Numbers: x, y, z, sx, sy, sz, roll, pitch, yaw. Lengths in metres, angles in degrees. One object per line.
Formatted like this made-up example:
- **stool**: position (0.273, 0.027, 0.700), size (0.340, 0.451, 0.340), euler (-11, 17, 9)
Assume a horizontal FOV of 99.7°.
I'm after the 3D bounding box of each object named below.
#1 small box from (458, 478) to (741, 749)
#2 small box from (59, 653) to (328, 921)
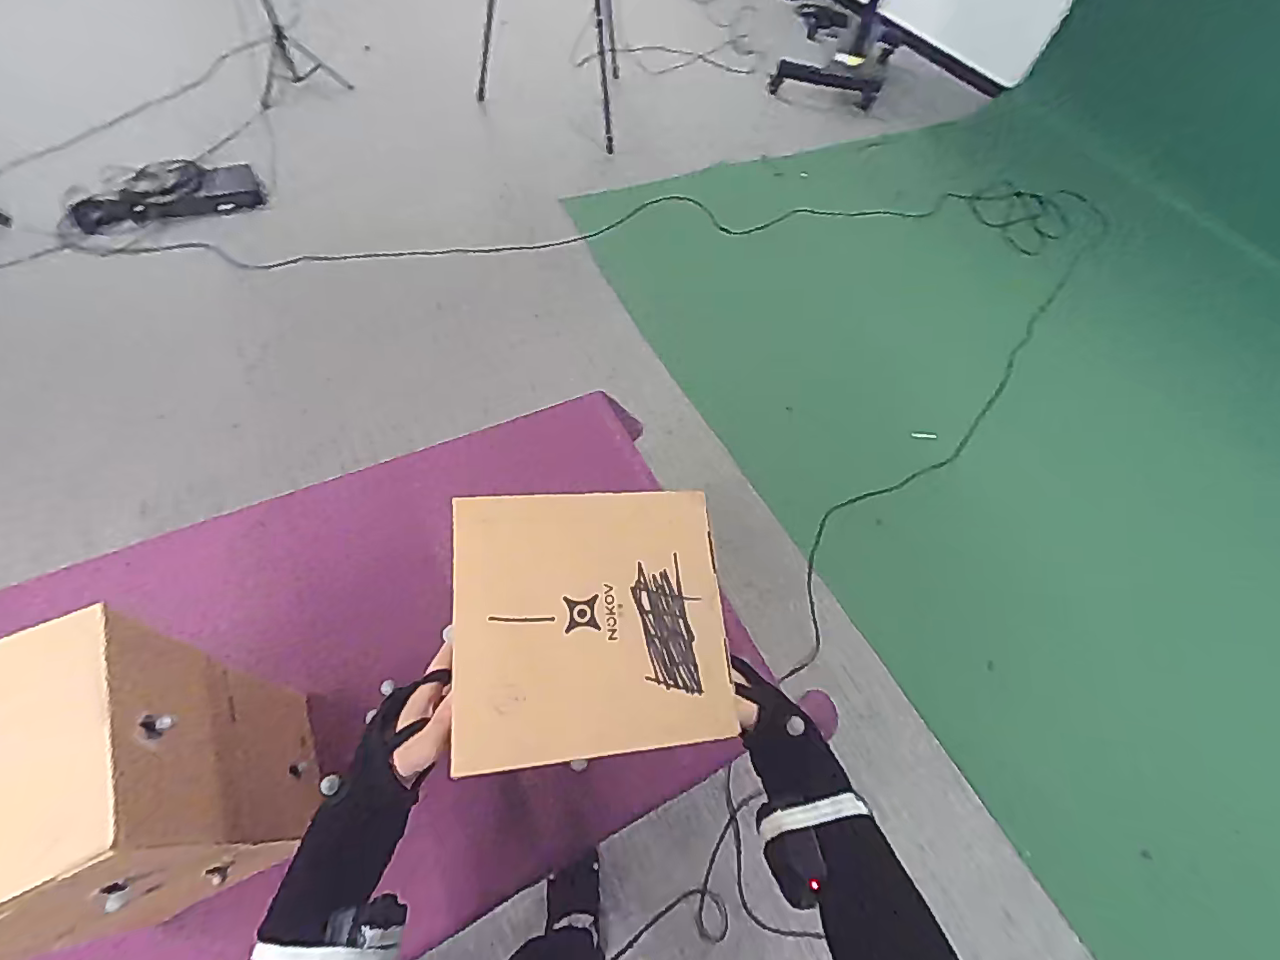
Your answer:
- **small box**: position (-0.042, 0.103, 0.424), size (0.179, 0.176, 0.168), euler (-1, 70, -13)
- **small box**: position (-0.452, 0.307, 0.548), size (0.179, 0.176, 0.168), euler (-21, 62, -18)
